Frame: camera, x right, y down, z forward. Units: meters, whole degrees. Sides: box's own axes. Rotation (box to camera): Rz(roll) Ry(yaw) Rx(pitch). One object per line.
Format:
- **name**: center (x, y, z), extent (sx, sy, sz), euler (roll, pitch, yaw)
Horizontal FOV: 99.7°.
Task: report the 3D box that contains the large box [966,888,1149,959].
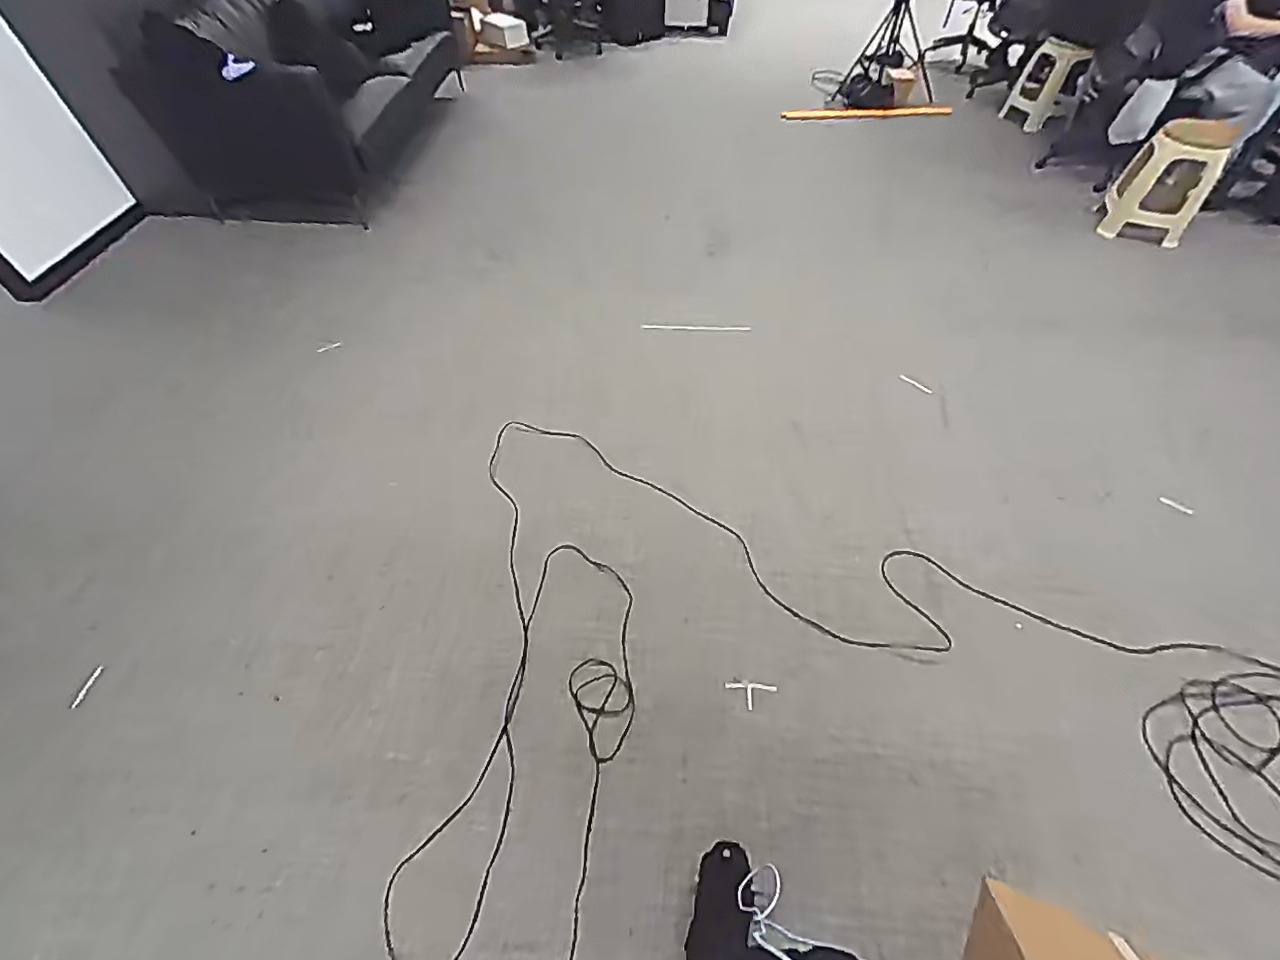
- **large box**: center (0.545, 0.760, 0.562), extent (0.320, 0.408, 0.320), euler (18, 86, 21)
